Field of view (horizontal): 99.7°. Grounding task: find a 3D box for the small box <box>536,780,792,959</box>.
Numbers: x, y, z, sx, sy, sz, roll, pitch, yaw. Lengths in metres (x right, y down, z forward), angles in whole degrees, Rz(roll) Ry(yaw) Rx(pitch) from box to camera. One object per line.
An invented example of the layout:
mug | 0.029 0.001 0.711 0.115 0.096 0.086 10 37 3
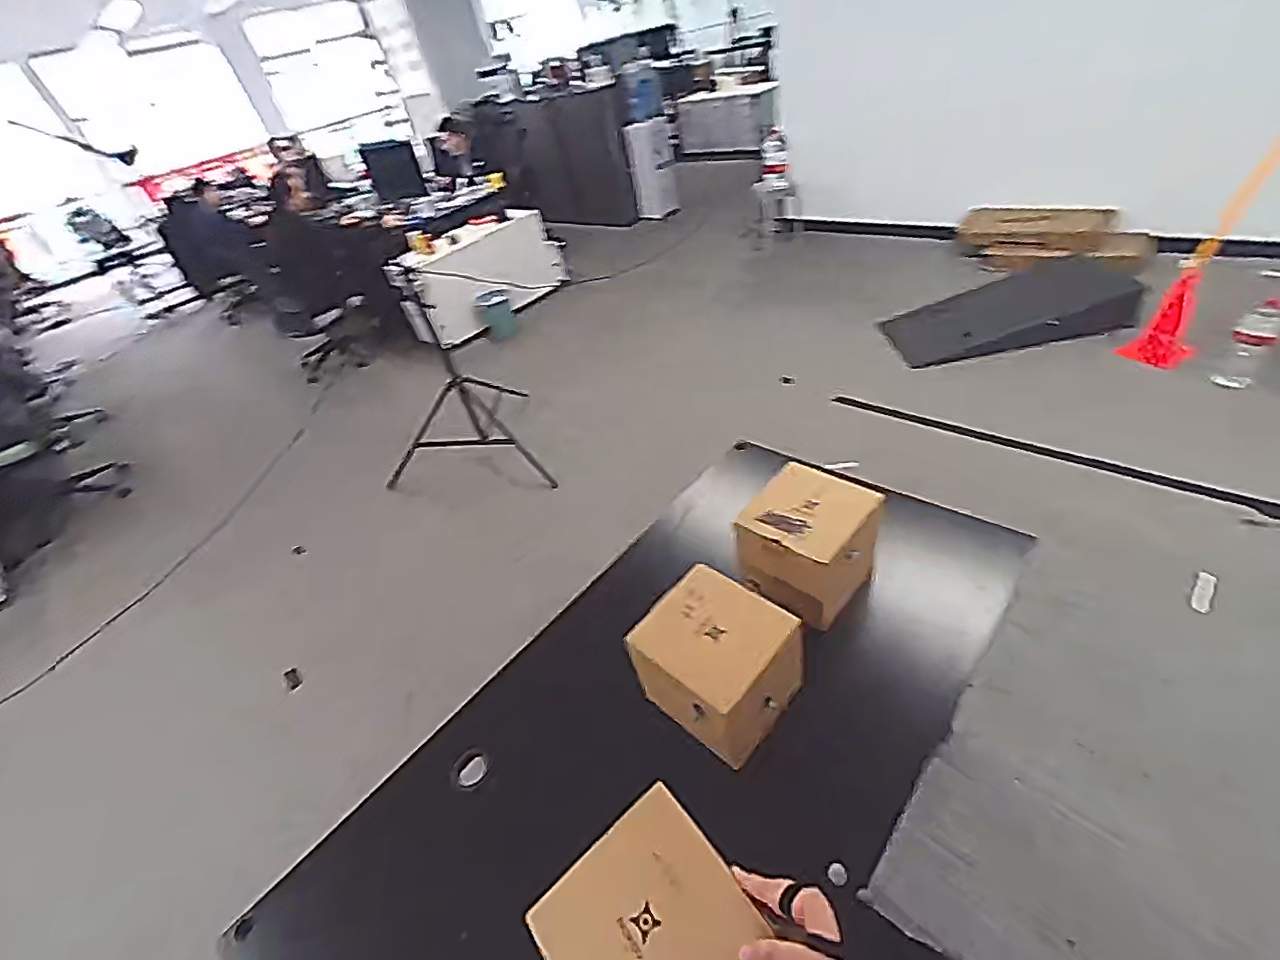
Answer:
small box | 0.033 0.455 0.542 0.179 0.176 0.168 -38 43 -18

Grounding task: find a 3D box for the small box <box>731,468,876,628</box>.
small box | 0.279 0.114 0.915 0.168 0.176 0.179 26 54 39

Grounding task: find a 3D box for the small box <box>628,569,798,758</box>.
small box | 0.113 0.270 0.787 0.179 0.176 0.168 25 54 39
